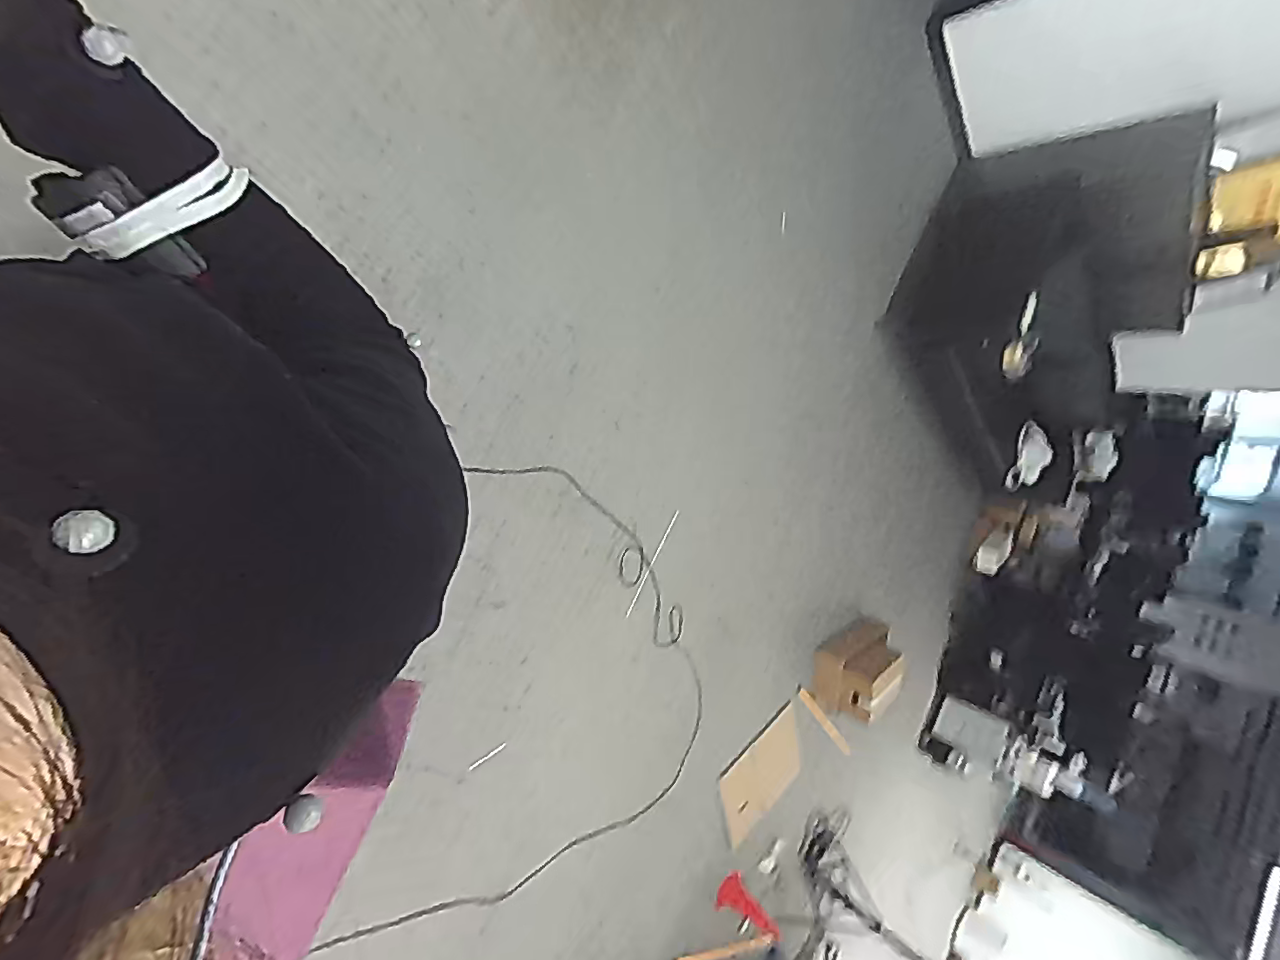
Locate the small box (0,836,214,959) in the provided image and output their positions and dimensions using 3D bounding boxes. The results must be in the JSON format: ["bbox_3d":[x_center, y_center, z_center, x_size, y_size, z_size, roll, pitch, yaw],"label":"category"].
[{"bbox_3d":[-0.598,0.514,0.574,0.179,0.176,0.168,31,81,-42],"label":"small box"}]

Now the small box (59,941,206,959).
[{"bbox_3d":[-0.492,0.553,0.456,0.168,0.176,0.179,31,80,-42],"label":"small box"}]
